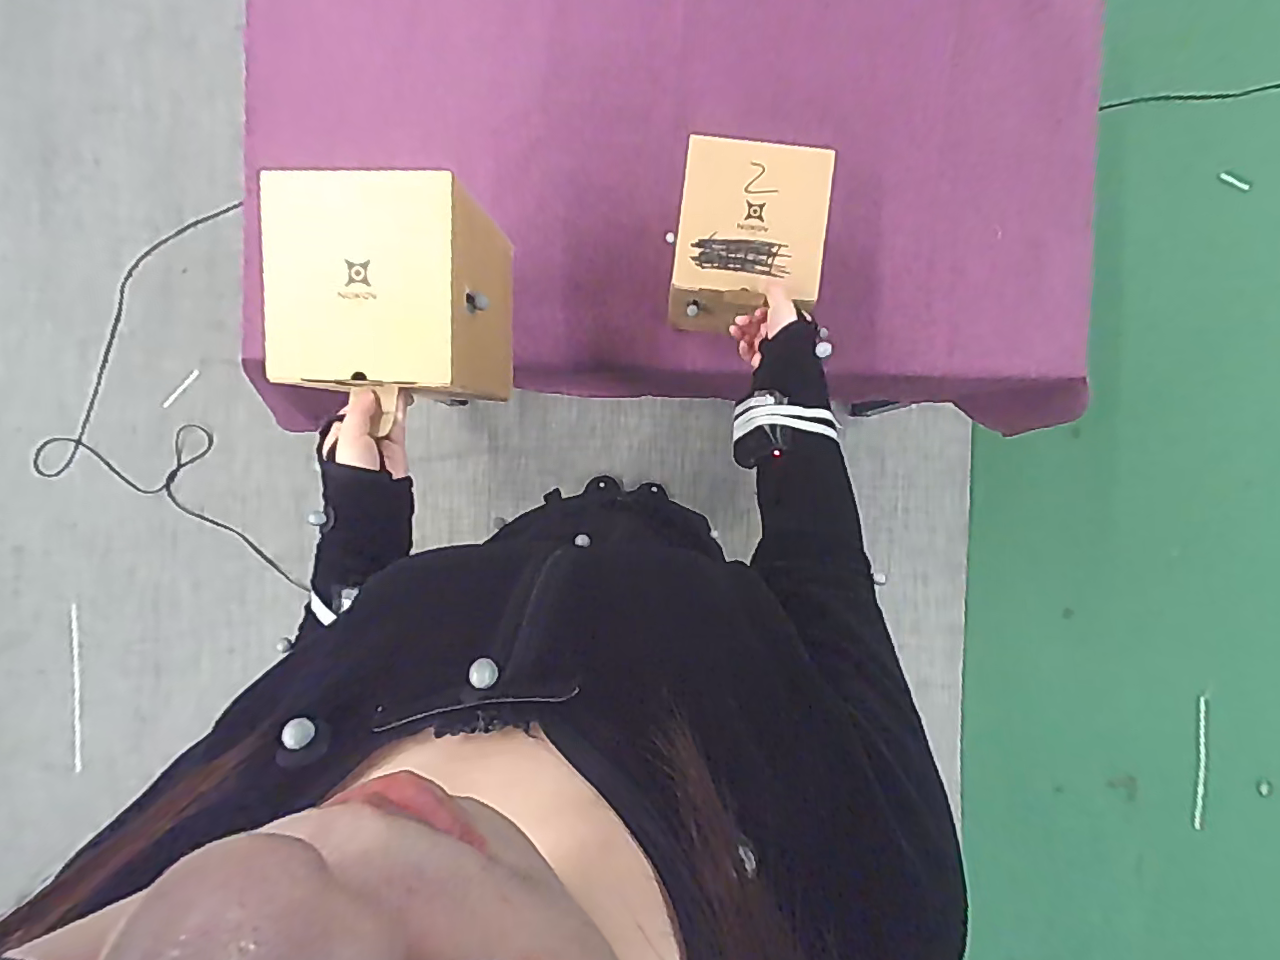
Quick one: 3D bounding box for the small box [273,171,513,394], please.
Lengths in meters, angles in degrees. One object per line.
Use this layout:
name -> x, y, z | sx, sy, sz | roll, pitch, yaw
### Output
small box -> -0.233, -0.183, 0.548 | 0.168, 0.176, 0.179 | 2, 96, 4
